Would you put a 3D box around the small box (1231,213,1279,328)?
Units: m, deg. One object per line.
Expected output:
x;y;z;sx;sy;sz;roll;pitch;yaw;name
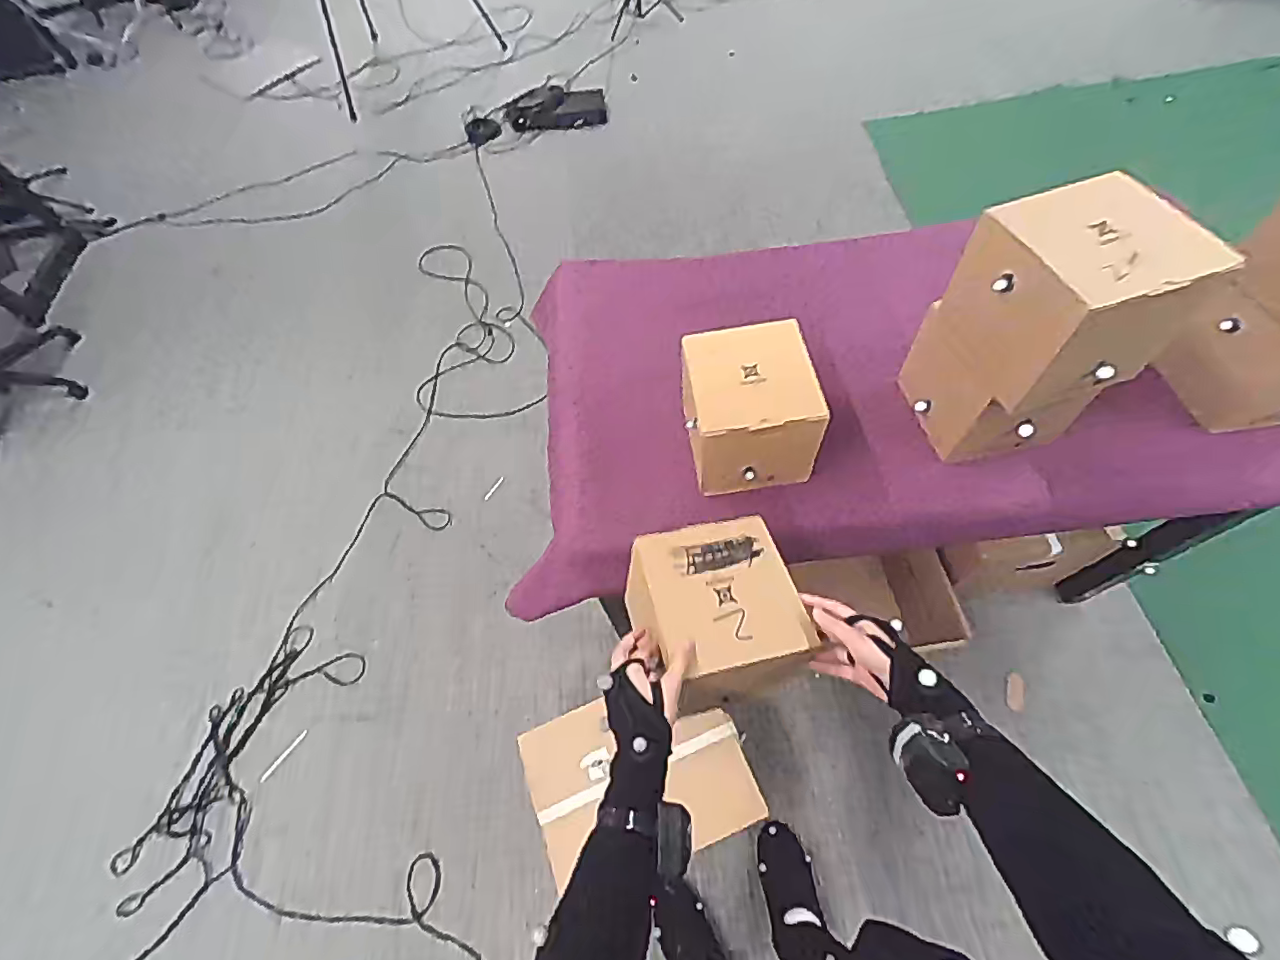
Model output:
0.868;-0.269;0.624;0.168;0.176;0.179;-11;58;2;small box

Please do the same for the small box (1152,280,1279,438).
0.892;-0.184;0.761;0.168;0.176;0.179;-8;58;3;small box

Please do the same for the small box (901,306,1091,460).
0.513;-0.144;0.785;0.168;0.176;0.179;-11;58;0;small box

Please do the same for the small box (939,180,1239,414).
0.491;-0.208;0.633;0.168;0.176;0.179;-17;58;-2;small box

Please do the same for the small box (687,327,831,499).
0.162;-0.095;0.802;0.168;0.176;0.179;-9;59;1;small box
